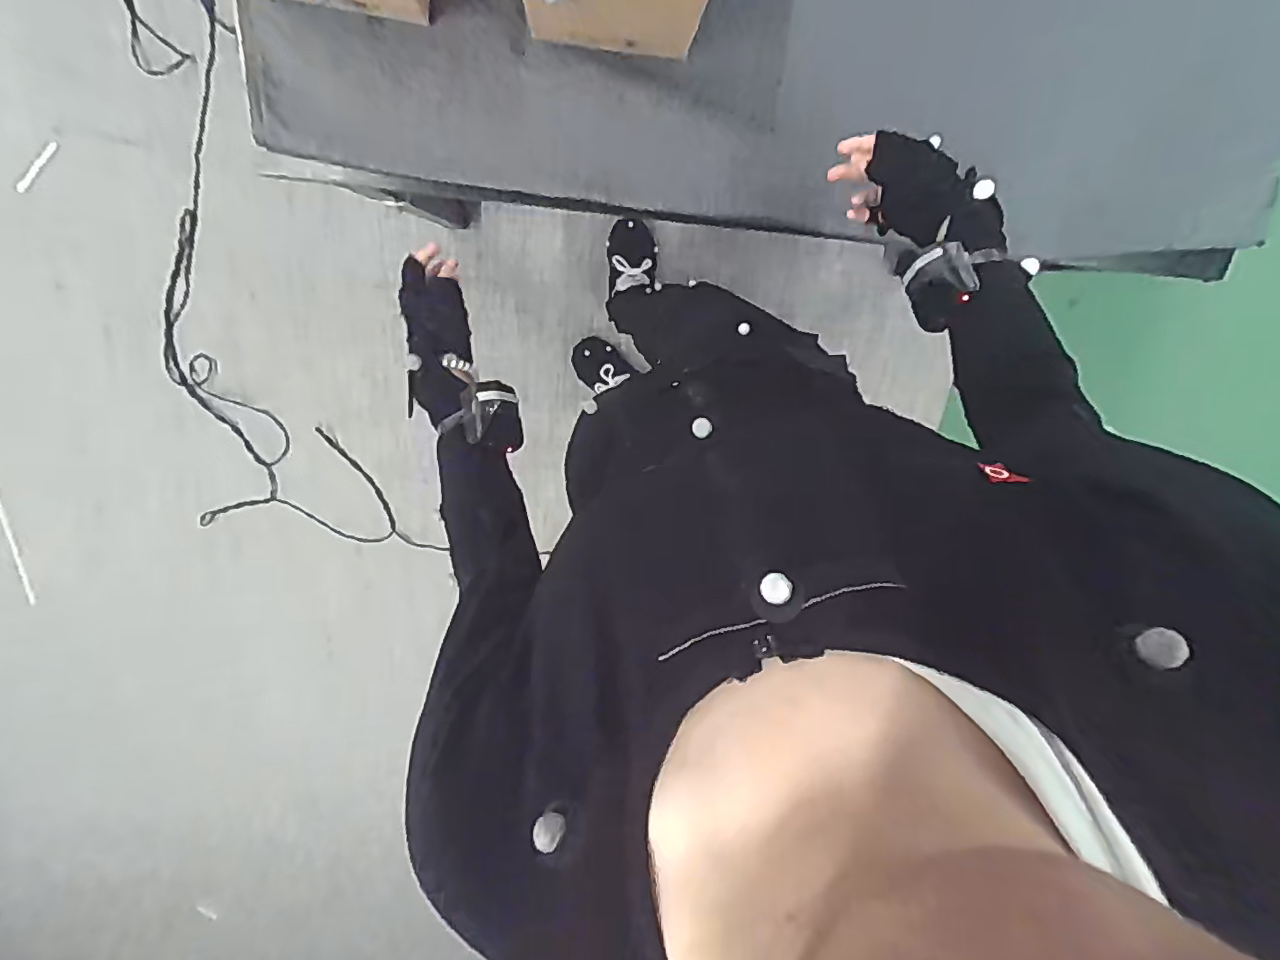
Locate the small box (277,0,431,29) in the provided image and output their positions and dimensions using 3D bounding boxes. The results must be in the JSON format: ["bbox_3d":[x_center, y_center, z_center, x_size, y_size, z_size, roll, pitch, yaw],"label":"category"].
[{"bbox_3d":[-0.275,-0.527,0.443,0.168,0.176,0.179,6,107,-7],"label":"small box"}]
